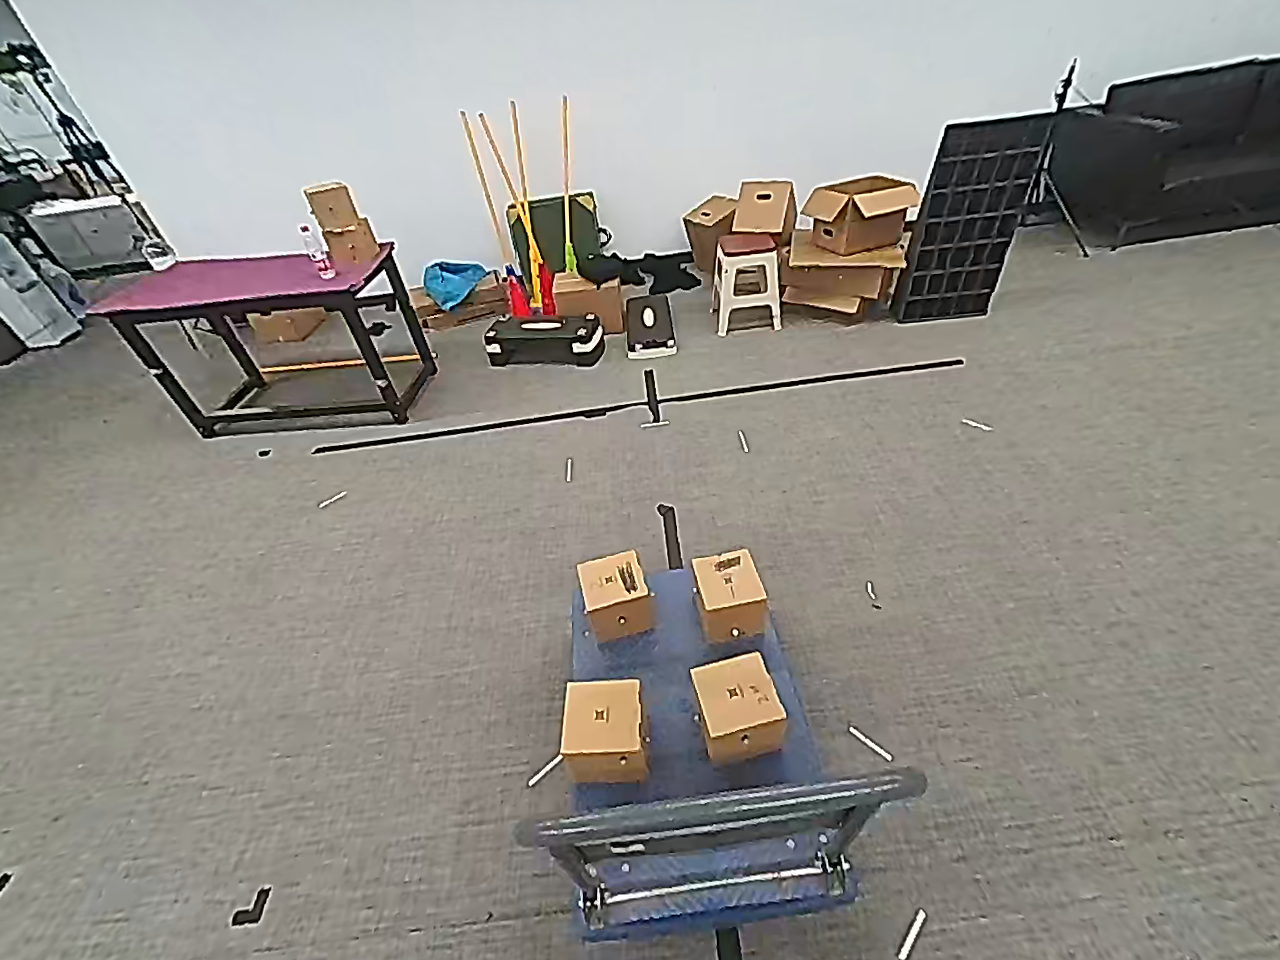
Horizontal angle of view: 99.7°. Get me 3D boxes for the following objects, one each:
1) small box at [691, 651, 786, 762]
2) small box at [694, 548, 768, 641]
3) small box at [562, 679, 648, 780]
[{"bbox_3d":[0.230,0.538,1.274,0.179,0.176,0.168,-13,42,-5],"label":"small box"},{"bbox_3d":[0.249,0.321,1.510,0.168,0.176,0.179,-11,43,-2],"label":"small box"},{"bbox_3d":[-0.075,0.588,1.270,0.179,0.176,0.168,-4,41,3],"label":"small box"}]
